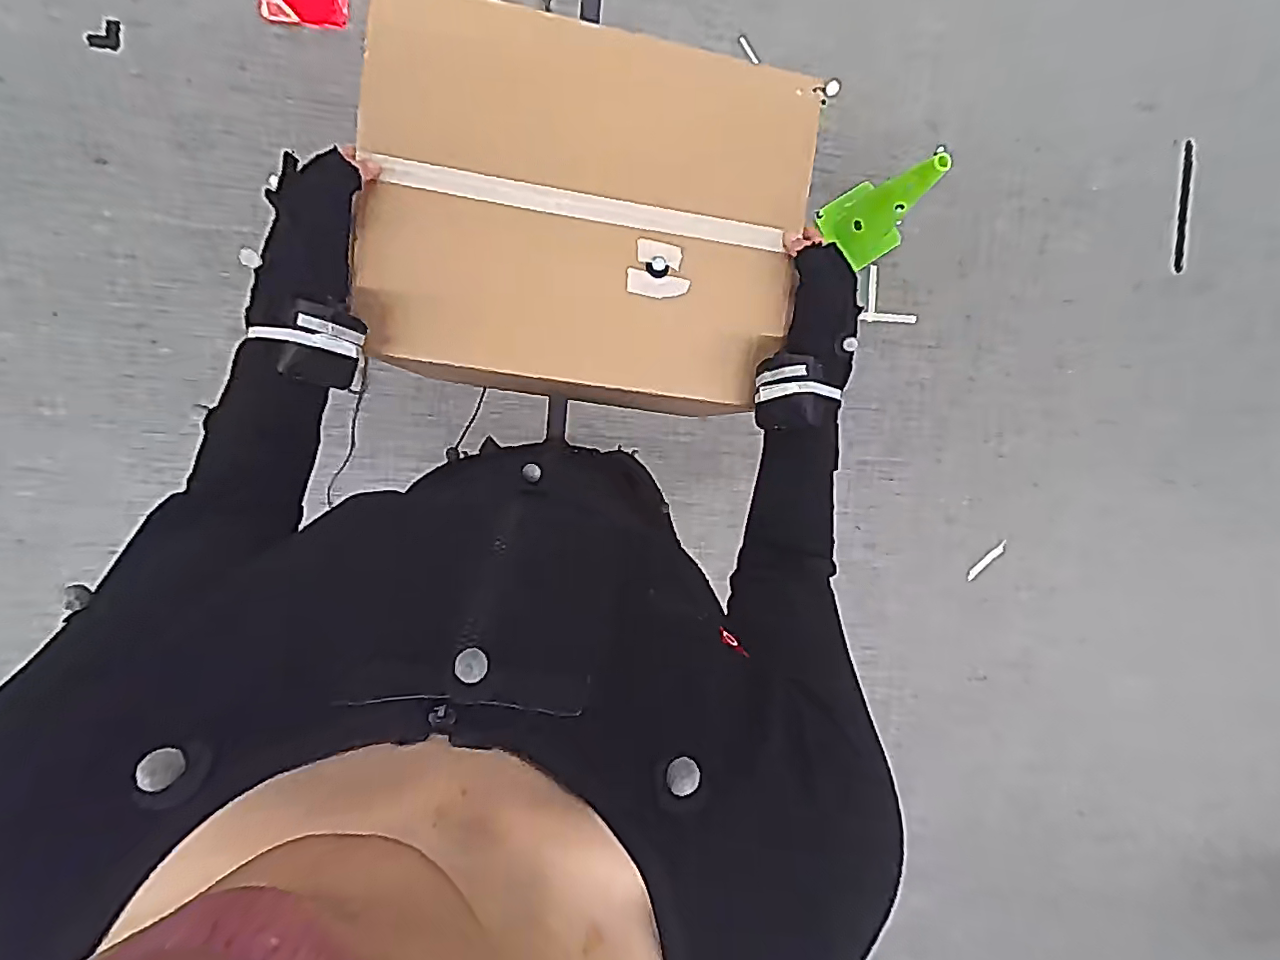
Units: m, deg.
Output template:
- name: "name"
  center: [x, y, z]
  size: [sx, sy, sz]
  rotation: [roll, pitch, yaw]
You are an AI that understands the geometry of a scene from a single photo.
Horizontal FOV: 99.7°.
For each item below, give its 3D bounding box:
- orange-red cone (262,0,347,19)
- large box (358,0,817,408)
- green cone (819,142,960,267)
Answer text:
- name: "orange-red cone"
  center: [-0.794, -1.212, 1.137]
  size: [0.198, 0.360, 0.199]
  rotation: [1, 95, -6]
- name: "large box"
  center: [-0.063, -0.267, 0.643]
  size: [0.408, 0.320, 0.320]
  rotation: [6, 95, -9]
- name: "green cone"
  center: [0.646, -0.715, 1.345]
  size: [0.202, 0.368, 0.200]
  rotation: [-34, 98, -5]
